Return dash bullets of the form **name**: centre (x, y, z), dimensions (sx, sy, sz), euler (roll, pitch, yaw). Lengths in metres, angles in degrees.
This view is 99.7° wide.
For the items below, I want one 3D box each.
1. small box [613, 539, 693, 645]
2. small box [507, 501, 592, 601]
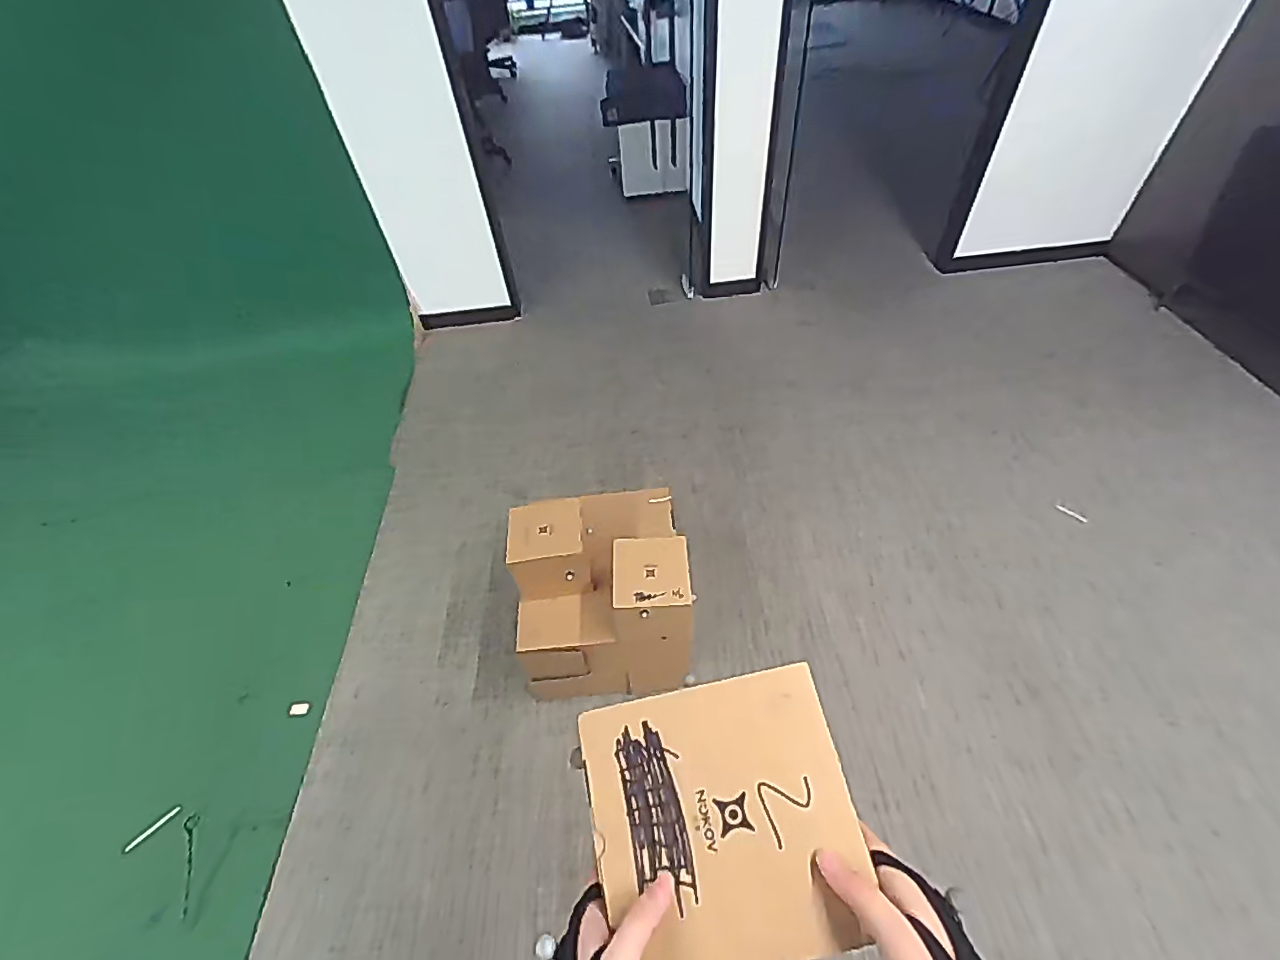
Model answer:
- **small box**: centre (0.030, 0.253, 1.221), dimensions (0.168, 0.176, 0.179), euler (-3, 47, 2)
- **small box**: centre (-0.212, 0.175, 1.318), dimensions (0.179, 0.176, 0.168), euler (-8, 46, 0)
